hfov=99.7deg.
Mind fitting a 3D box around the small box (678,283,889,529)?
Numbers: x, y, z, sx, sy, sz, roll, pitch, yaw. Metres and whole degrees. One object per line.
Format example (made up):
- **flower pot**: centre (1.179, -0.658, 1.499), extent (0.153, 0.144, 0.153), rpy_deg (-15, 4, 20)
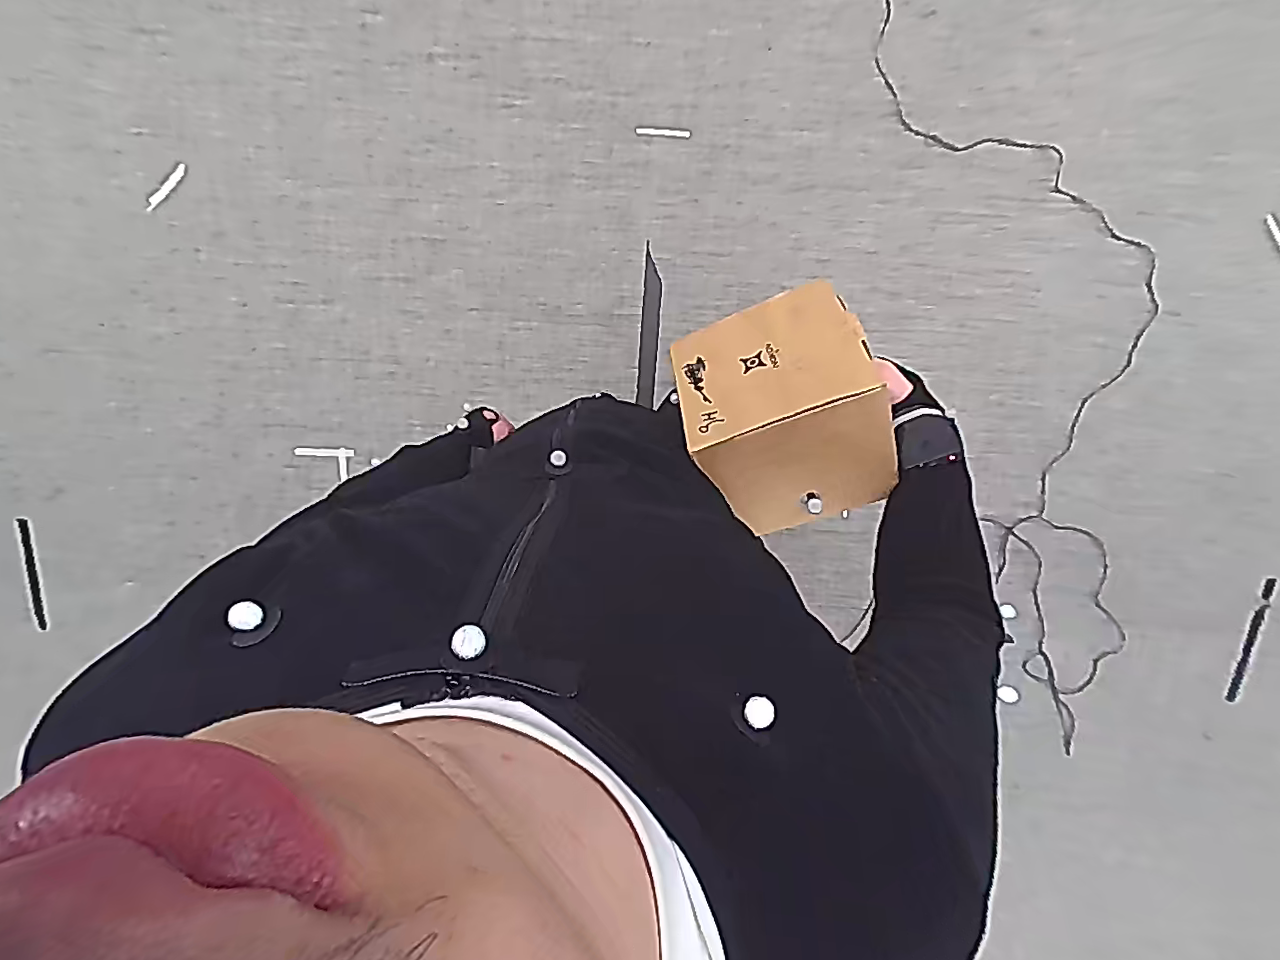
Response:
- **small box**: centre (0.158, -0.072, 0.590), extent (0.179, 0.168, 0.176), rpy_deg (-19, 138, 16)
